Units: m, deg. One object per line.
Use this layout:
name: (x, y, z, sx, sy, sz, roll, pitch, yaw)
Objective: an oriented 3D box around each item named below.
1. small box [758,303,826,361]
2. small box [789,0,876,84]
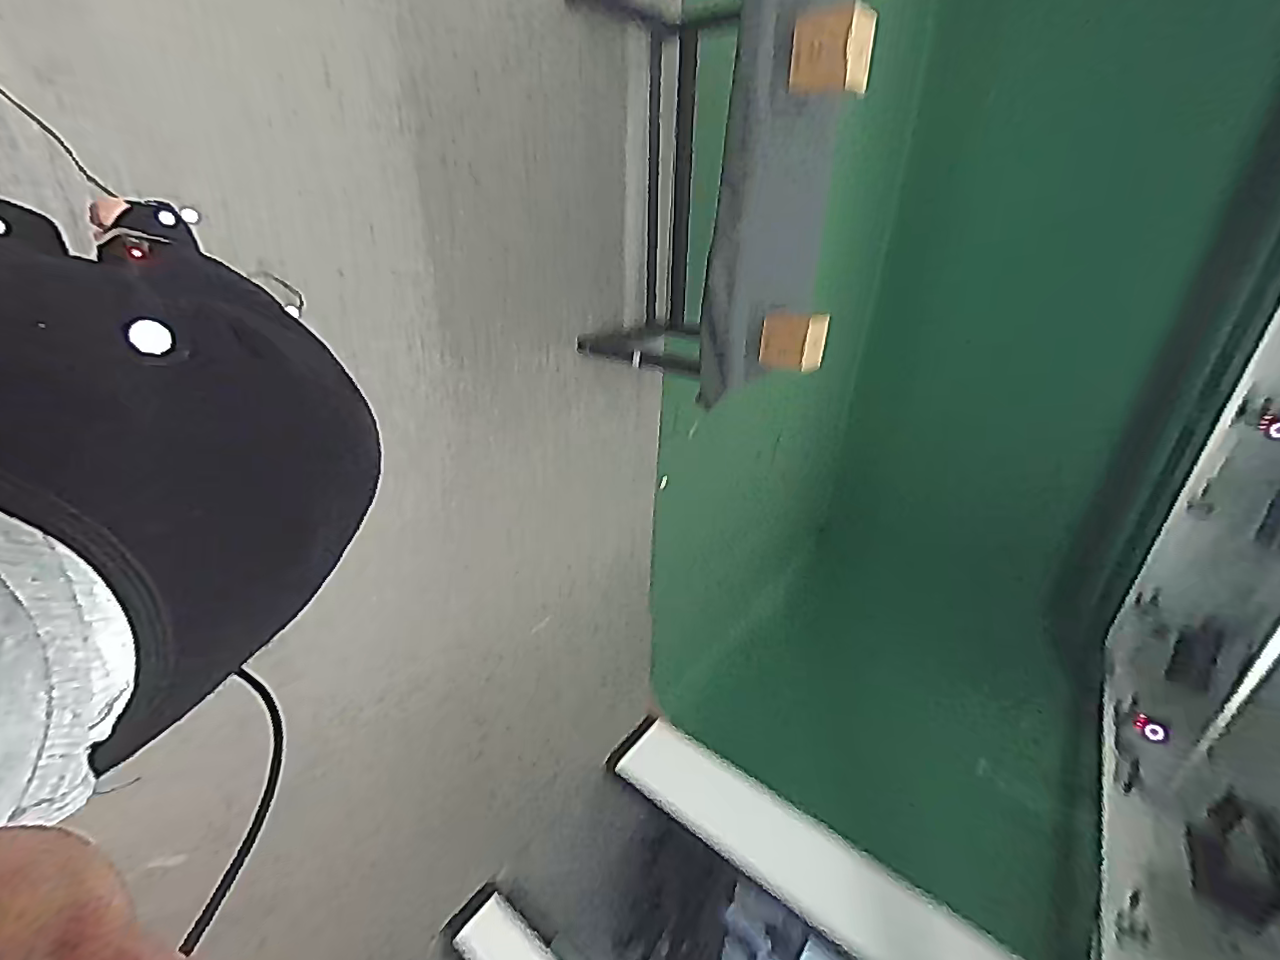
small box: (0.535, -0.528, 1.914, 0.179, 0.176, 0.168, -27, 129, -47)
small box: (0.539, -1.238, 1.530, 0.179, 0.176, 0.168, -30, 132, -43)
